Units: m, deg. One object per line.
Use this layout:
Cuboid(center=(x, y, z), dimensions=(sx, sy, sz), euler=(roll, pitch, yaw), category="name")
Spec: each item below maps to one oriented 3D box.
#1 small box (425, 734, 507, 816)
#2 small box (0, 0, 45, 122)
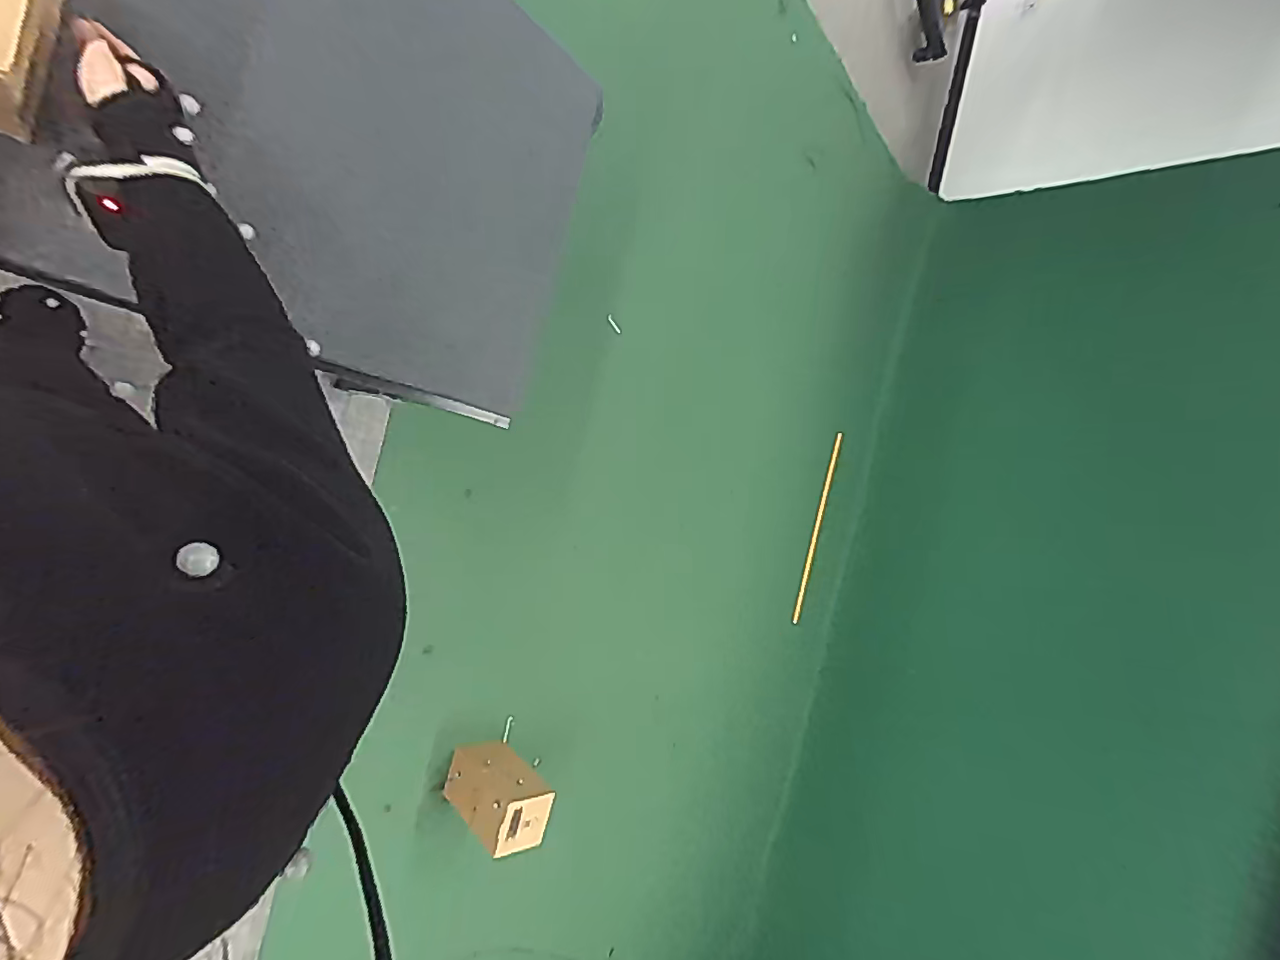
Cuboid(center=(-0.579, 0.969, 1.797), dimensions=(0.179, 0.176, 0.168), euler=(19, 87, -47), category="small box")
Cuboid(center=(-0.548, -0.401, 0.378), dimensions=(0.168, 0.176, 0.179), euler=(14, 90, -47), category="small box")
